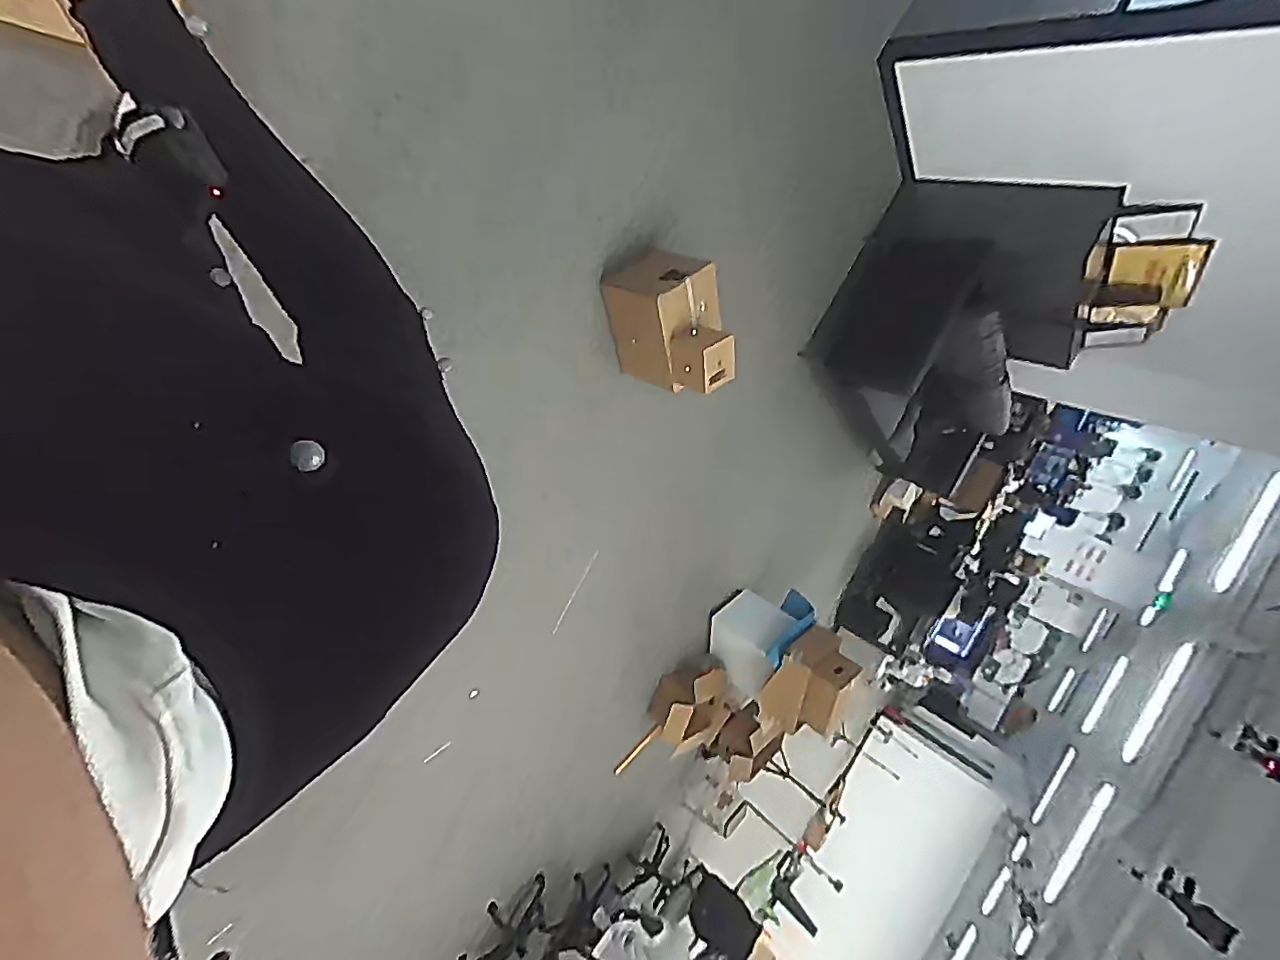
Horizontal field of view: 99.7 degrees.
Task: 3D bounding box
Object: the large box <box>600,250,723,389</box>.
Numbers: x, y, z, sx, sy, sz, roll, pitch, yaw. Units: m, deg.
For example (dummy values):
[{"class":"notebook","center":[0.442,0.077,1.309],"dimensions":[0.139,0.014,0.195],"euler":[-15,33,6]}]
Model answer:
[{"class":"large box","center":[0.093,-0.634,2.126],"dimensions":[0.320,0.320,0.408],"euler":[-41,137,-25]}]
